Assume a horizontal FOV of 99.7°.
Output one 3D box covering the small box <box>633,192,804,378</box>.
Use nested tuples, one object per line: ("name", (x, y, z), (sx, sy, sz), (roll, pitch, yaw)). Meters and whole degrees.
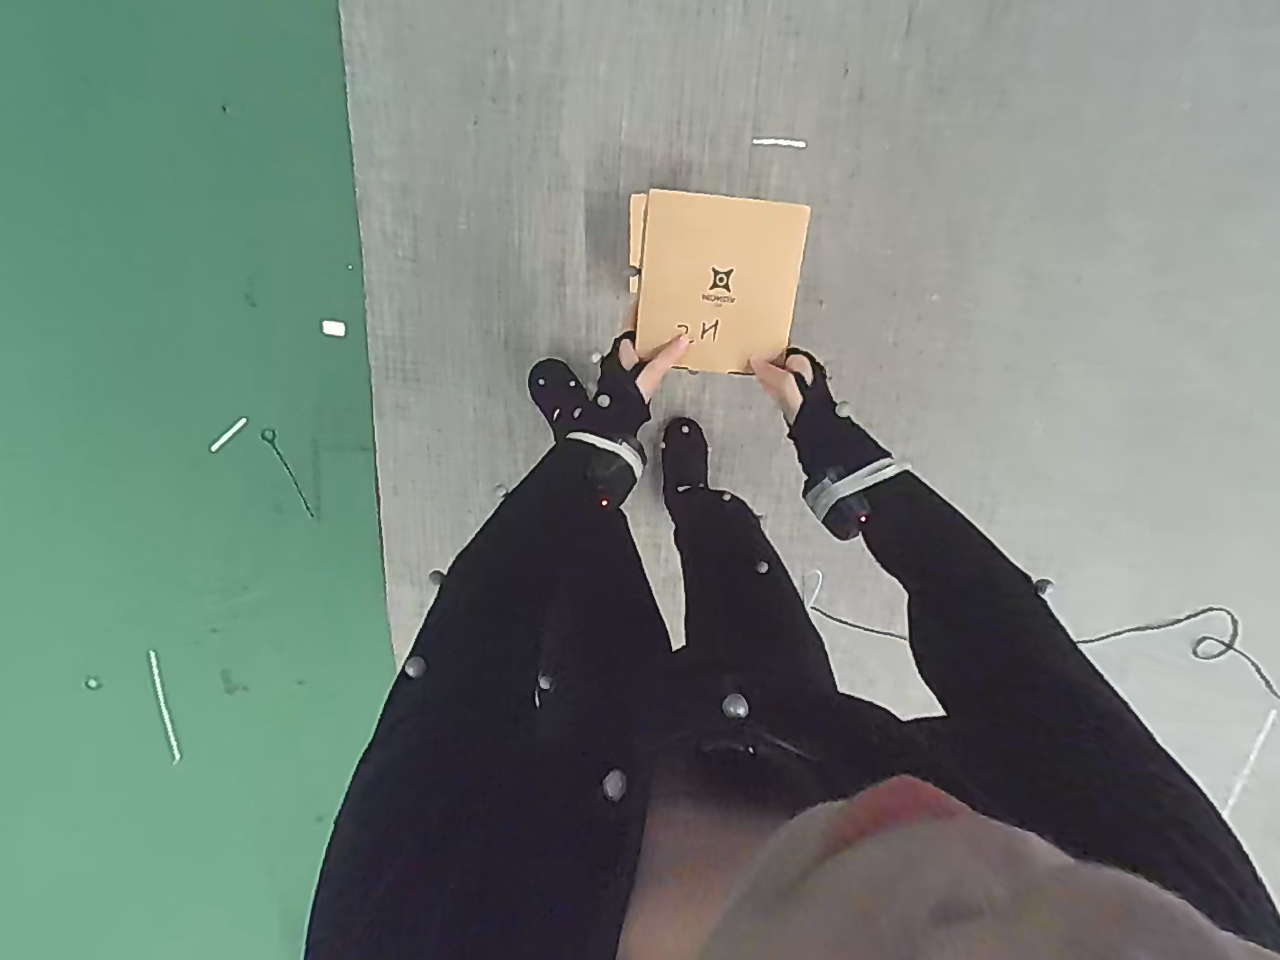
("small box", (0.080, -0.228, 0.654), (0.168, 0.176, 0.179), (5, 108, -1))
